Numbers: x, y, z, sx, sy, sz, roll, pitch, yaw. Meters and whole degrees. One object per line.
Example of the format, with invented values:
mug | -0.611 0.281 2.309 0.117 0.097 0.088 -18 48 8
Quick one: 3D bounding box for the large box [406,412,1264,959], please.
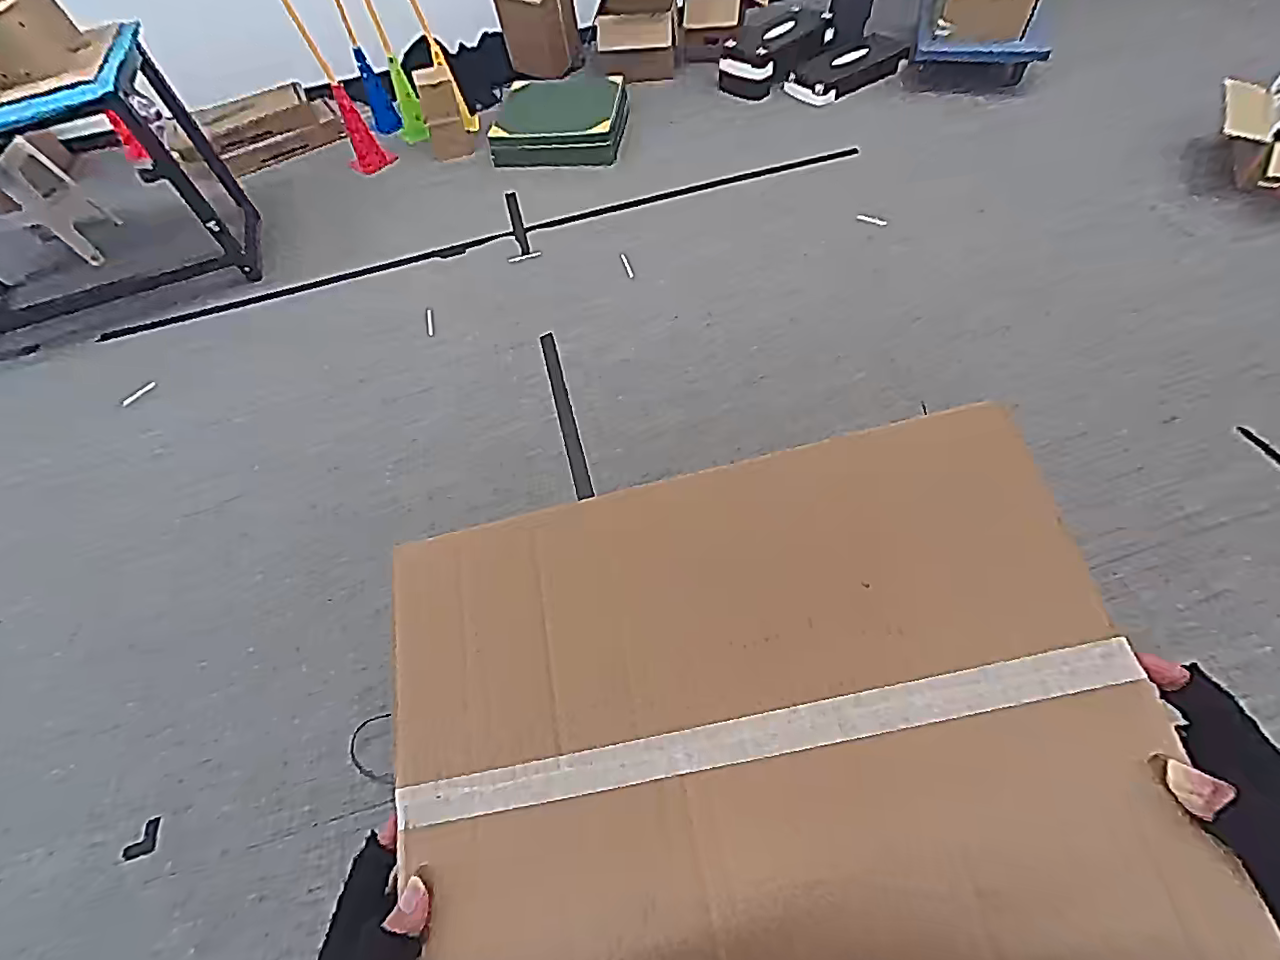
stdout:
large box | 0.085 0.193 0.443 0.408 0.320 0.320 -15 67 5
